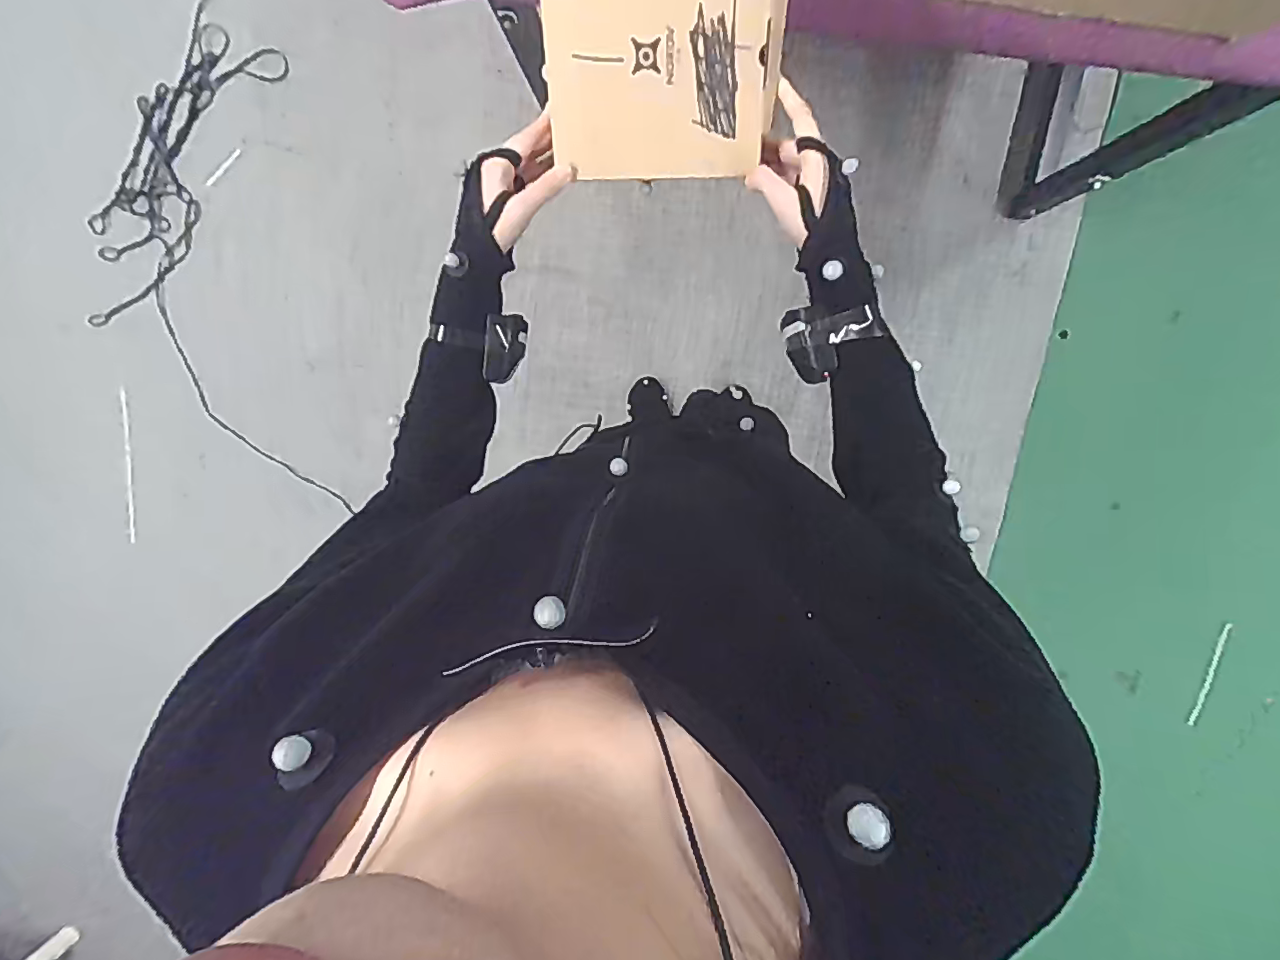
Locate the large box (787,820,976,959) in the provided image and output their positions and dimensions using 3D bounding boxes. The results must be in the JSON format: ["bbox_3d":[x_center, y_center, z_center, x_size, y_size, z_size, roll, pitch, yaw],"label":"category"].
[{"bbox_3d":[0.660,1.223,1.527,0.408,0.320,0.320,-6,100,3],"label":"large box"}]

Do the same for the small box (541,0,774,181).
[{"bbox_3d":[0.012,-0.366,0.487,0.179,0.176,0.168,-1,120,0],"label":"small box"}]
